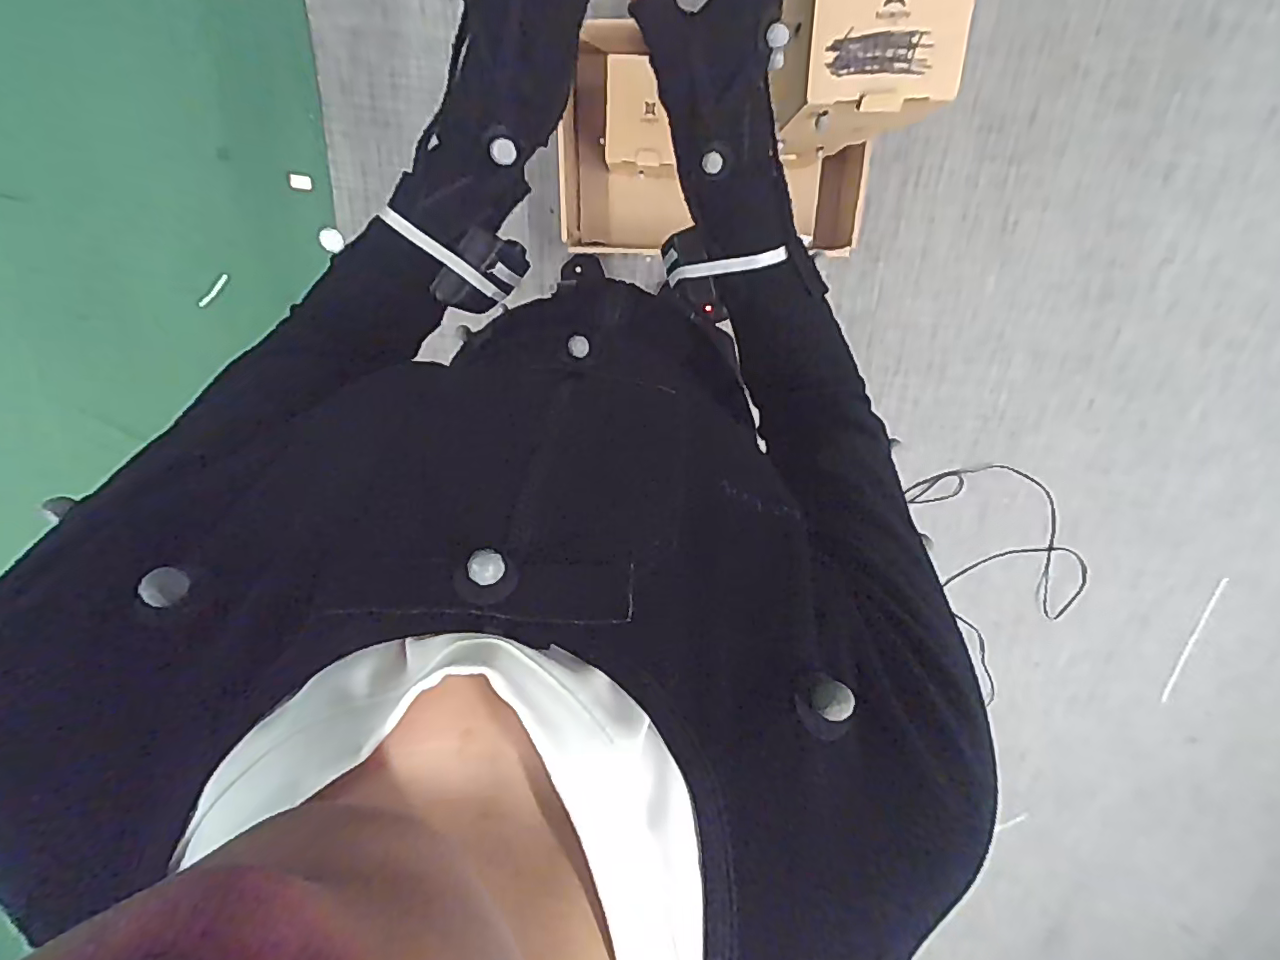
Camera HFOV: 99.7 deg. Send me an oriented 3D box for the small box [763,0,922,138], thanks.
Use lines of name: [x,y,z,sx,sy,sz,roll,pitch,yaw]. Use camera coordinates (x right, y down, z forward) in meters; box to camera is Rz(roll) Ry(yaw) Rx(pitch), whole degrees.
small box: [0.278,-0.607,0.778,0.168,0.176,0.179,3,113,1]

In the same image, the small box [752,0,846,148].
small box: [0.286,-0.672,0.910,0.168,0.176,0.179,2,113,2]

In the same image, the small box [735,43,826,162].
small box: [0.280,-0.743,1.077,0.168,0.176,0.179,-1,113,5]
